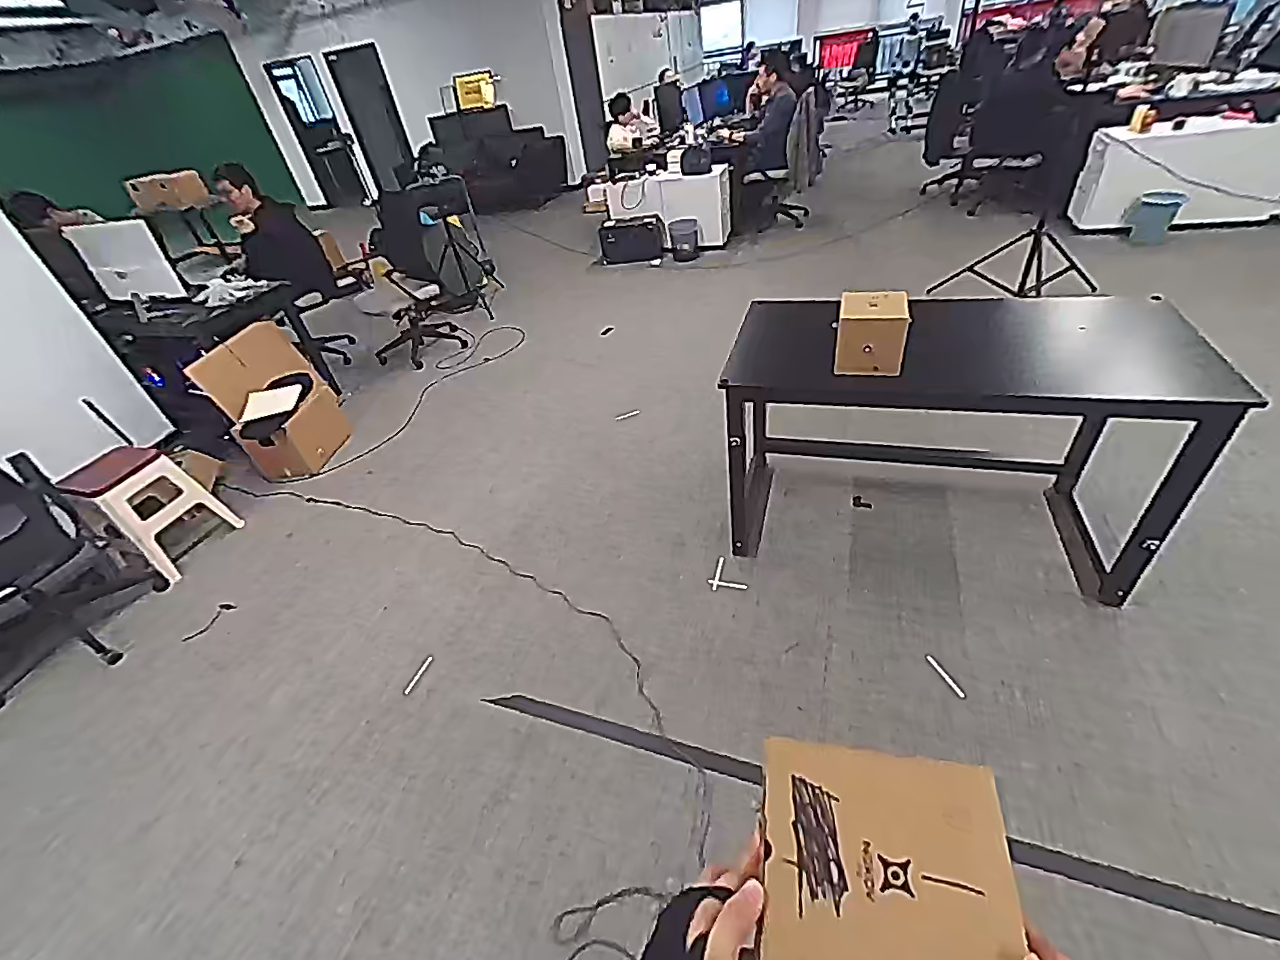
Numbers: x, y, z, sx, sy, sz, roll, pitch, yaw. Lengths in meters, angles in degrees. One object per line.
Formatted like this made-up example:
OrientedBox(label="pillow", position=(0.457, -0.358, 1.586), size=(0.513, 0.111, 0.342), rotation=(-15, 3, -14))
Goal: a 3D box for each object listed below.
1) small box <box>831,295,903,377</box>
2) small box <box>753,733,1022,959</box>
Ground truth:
OrientedBox(label="small box", position=(0.628, -0.400, 1.503), size=(0.168, 0.176, 0.179), rotation=(6, 41, 18))
OrientedBox(label="small box", position=(0.191, 0.338, 0.464), size=(0.179, 0.176, 0.168), rotation=(2, 51, 14))
